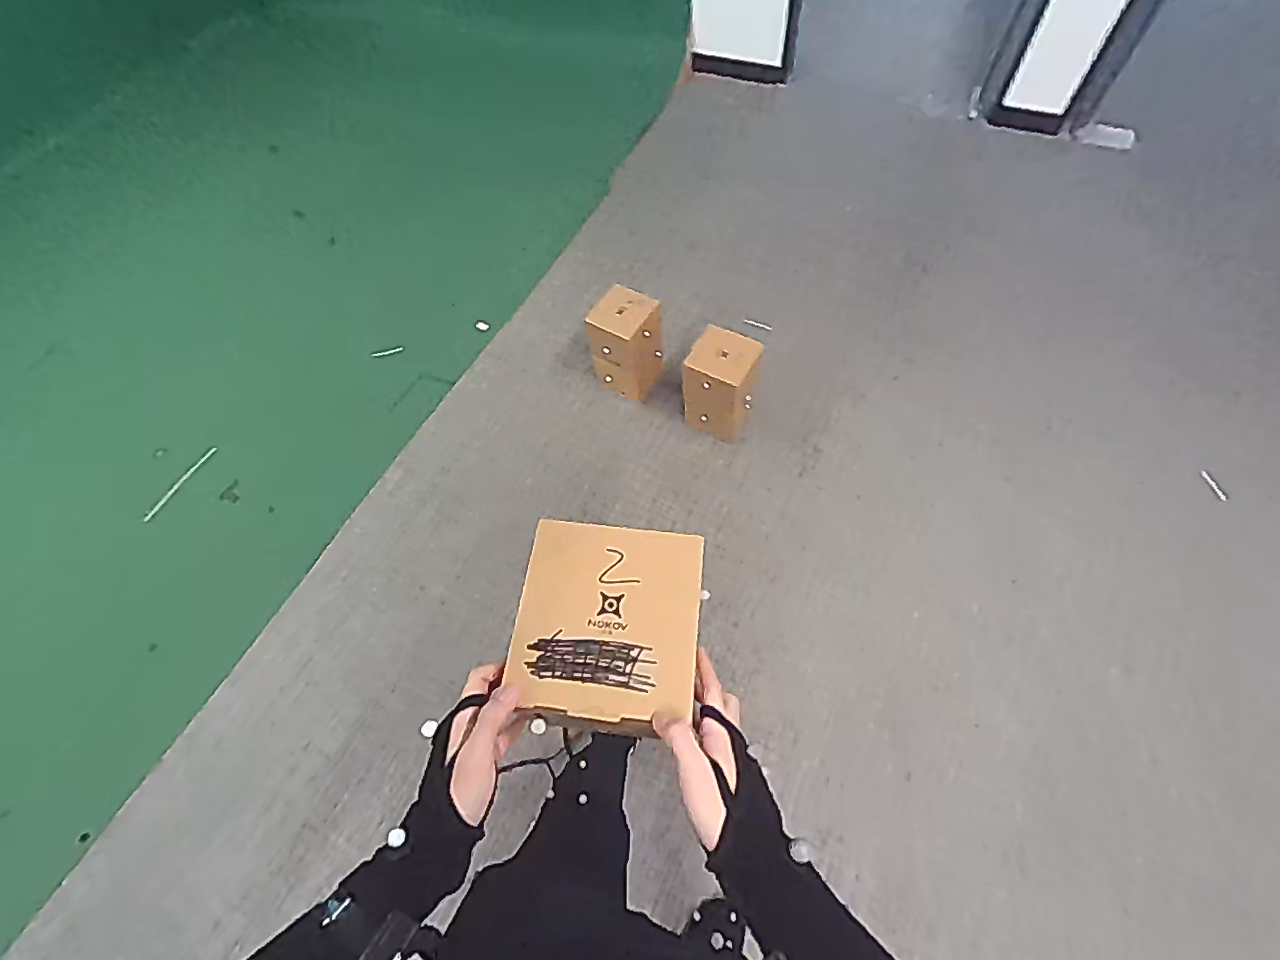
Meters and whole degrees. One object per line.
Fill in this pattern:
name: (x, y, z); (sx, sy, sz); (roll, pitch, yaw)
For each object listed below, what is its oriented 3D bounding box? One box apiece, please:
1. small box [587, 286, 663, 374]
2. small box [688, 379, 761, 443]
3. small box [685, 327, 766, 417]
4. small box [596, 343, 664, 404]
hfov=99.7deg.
small box: (-0.037, -0.465, 1.695); (0.168, 0.176, 0.179); (30, 70, 18)
small box: (0.268, -0.246, 1.736); (0.179, 0.176, 0.168); (25, 69, 18)
small box: (0.248, -0.311, 1.587); (0.179, 0.176, 0.168); (27, 69, 18)
small box: (-0.026, -0.391, 1.843); (0.168, 0.176, 0.179); (28, 68, 18)
